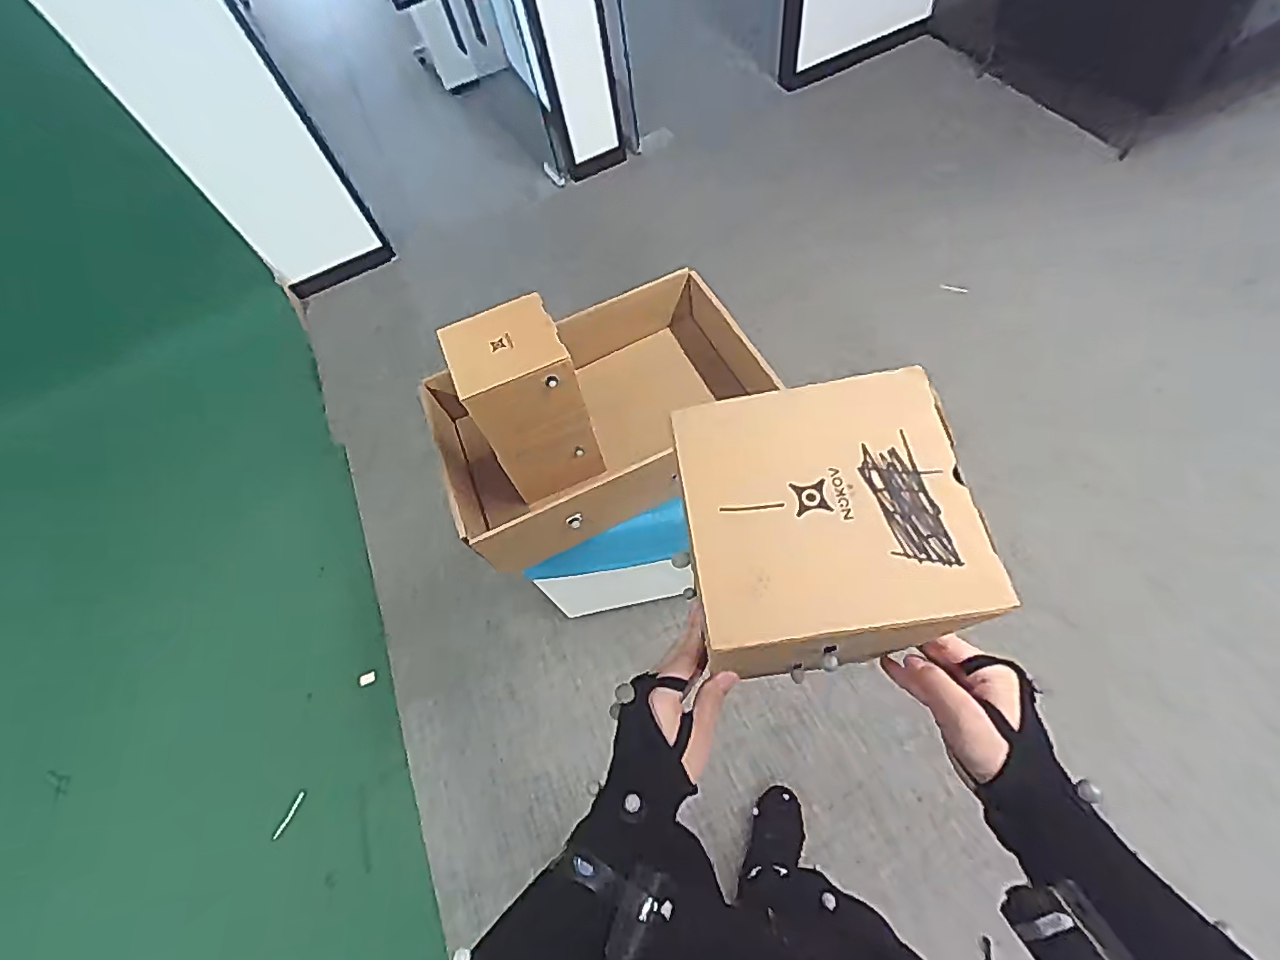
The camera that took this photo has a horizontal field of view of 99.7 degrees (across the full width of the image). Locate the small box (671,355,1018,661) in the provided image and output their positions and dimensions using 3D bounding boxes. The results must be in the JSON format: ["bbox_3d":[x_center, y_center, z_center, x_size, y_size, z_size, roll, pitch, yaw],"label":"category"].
[{"bbox_3d":[0.124,0.035,0.405,0.179,0.176,0.168,-10,65,5],"label":"small box"}]

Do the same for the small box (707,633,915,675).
[{"bbox_3d":[0.147,0.100,0.554,0.179,0.176,0.168,-9,66,4],"label":"small box"}]

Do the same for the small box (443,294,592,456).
[{"bbox_3d":[-0.198,-0.168,0.901,0.179,0.176,0.168,-23,59,-6],"label":"small box"}]
